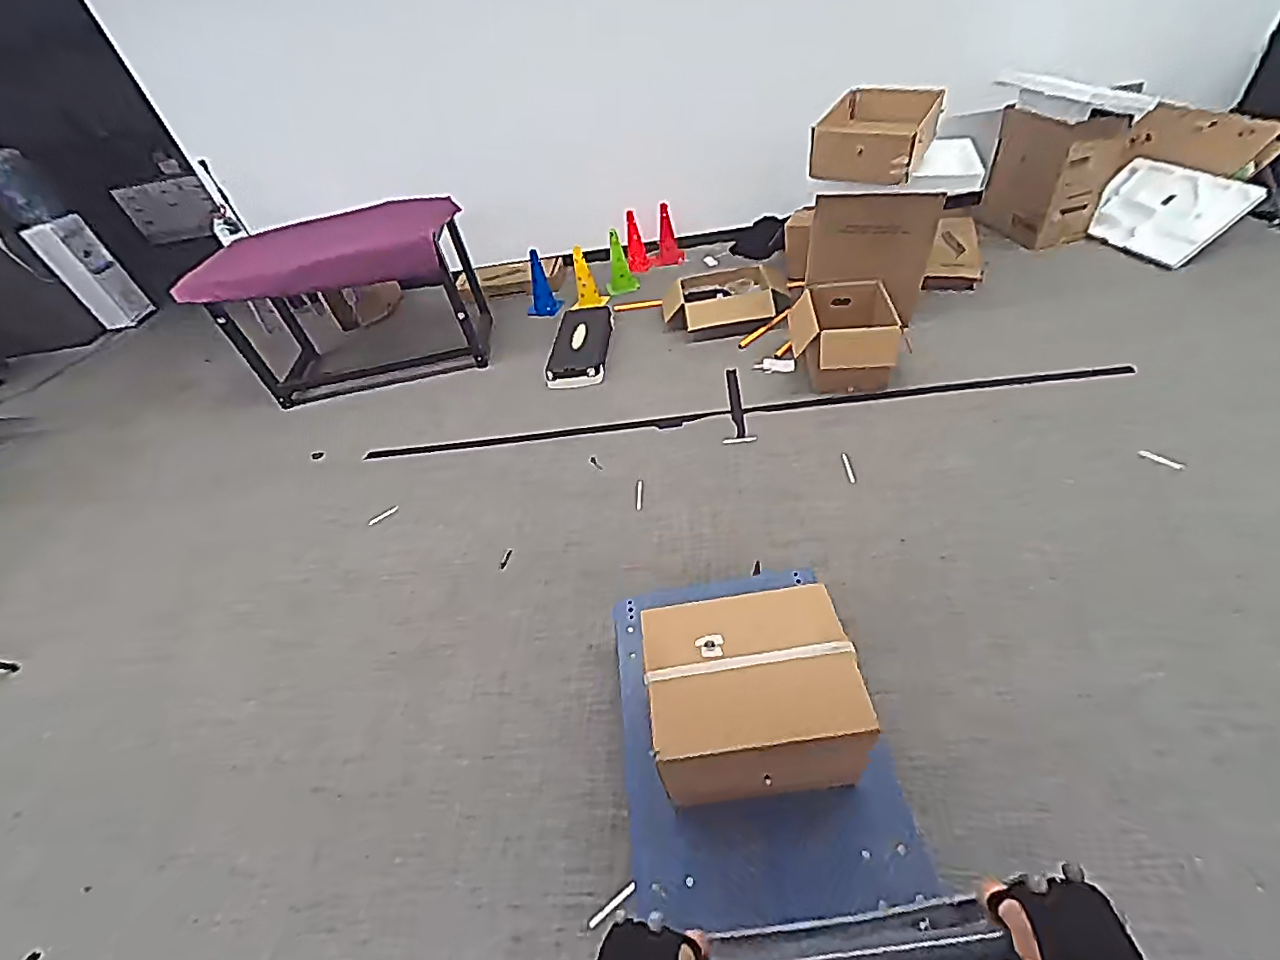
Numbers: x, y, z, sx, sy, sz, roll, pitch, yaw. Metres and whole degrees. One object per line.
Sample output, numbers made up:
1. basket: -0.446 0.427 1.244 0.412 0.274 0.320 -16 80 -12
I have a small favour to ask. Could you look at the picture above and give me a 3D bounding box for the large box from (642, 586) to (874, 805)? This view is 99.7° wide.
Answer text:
1. large box: 0.239 0.476 1.186 0.408 0.320 0.320 -11 44 3
